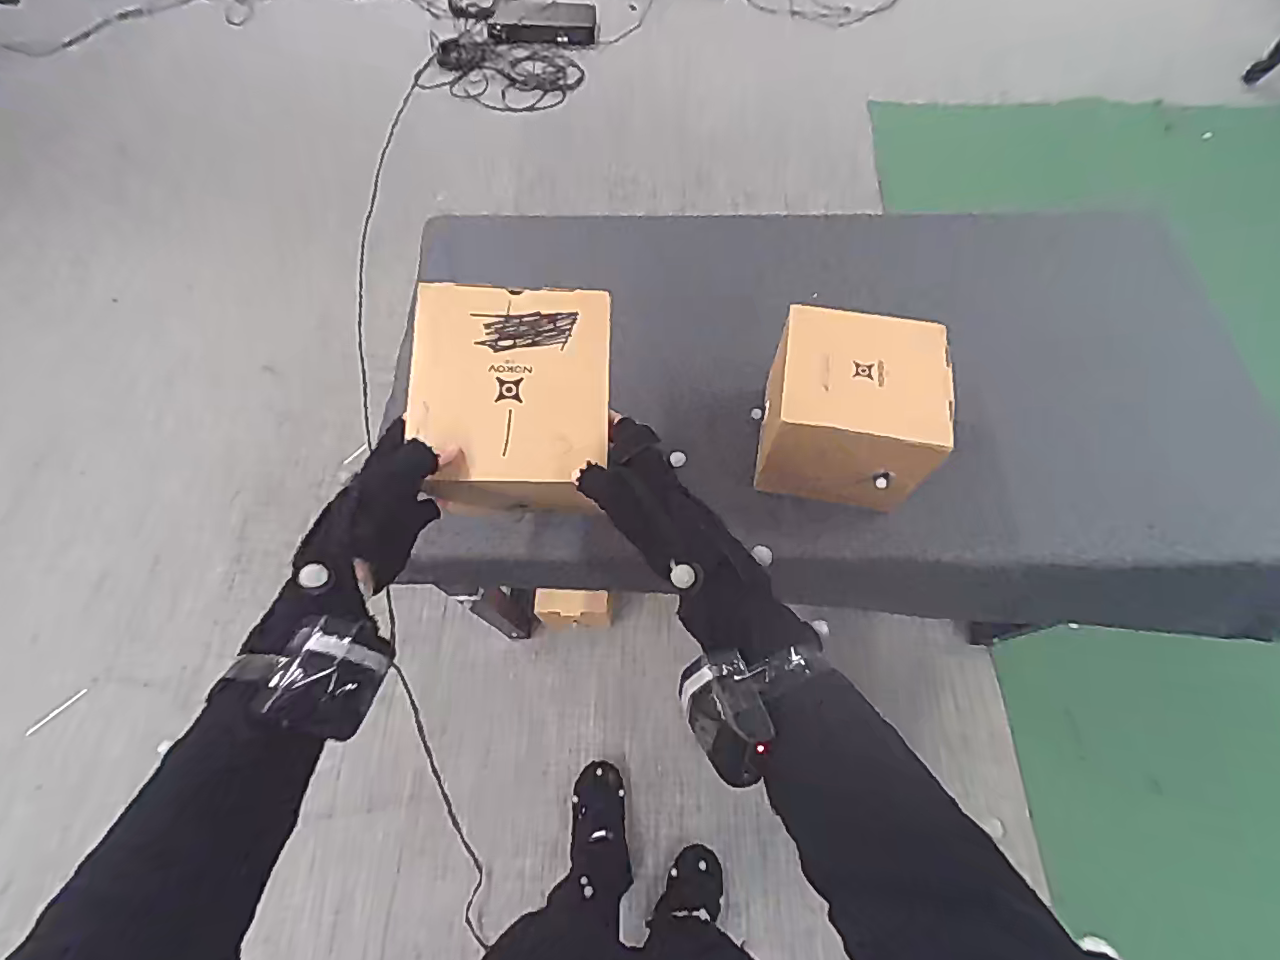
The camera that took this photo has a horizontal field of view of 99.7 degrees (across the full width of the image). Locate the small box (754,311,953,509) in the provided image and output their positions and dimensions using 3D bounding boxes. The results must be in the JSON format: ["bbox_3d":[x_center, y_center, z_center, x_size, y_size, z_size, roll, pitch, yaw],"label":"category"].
[{"bbox_3d":[0.247,-0.077,0.660,0.179,0.176,0.168,9,63,5],"label":"small box"}]

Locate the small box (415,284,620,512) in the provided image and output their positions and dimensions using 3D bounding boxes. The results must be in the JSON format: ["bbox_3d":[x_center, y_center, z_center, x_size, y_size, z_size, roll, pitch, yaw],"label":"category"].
[{"bbox_3d":[-0.108,-0.069,0.540,0.168,0.176,0.179,1,78,-4],"label":"small box"}]
